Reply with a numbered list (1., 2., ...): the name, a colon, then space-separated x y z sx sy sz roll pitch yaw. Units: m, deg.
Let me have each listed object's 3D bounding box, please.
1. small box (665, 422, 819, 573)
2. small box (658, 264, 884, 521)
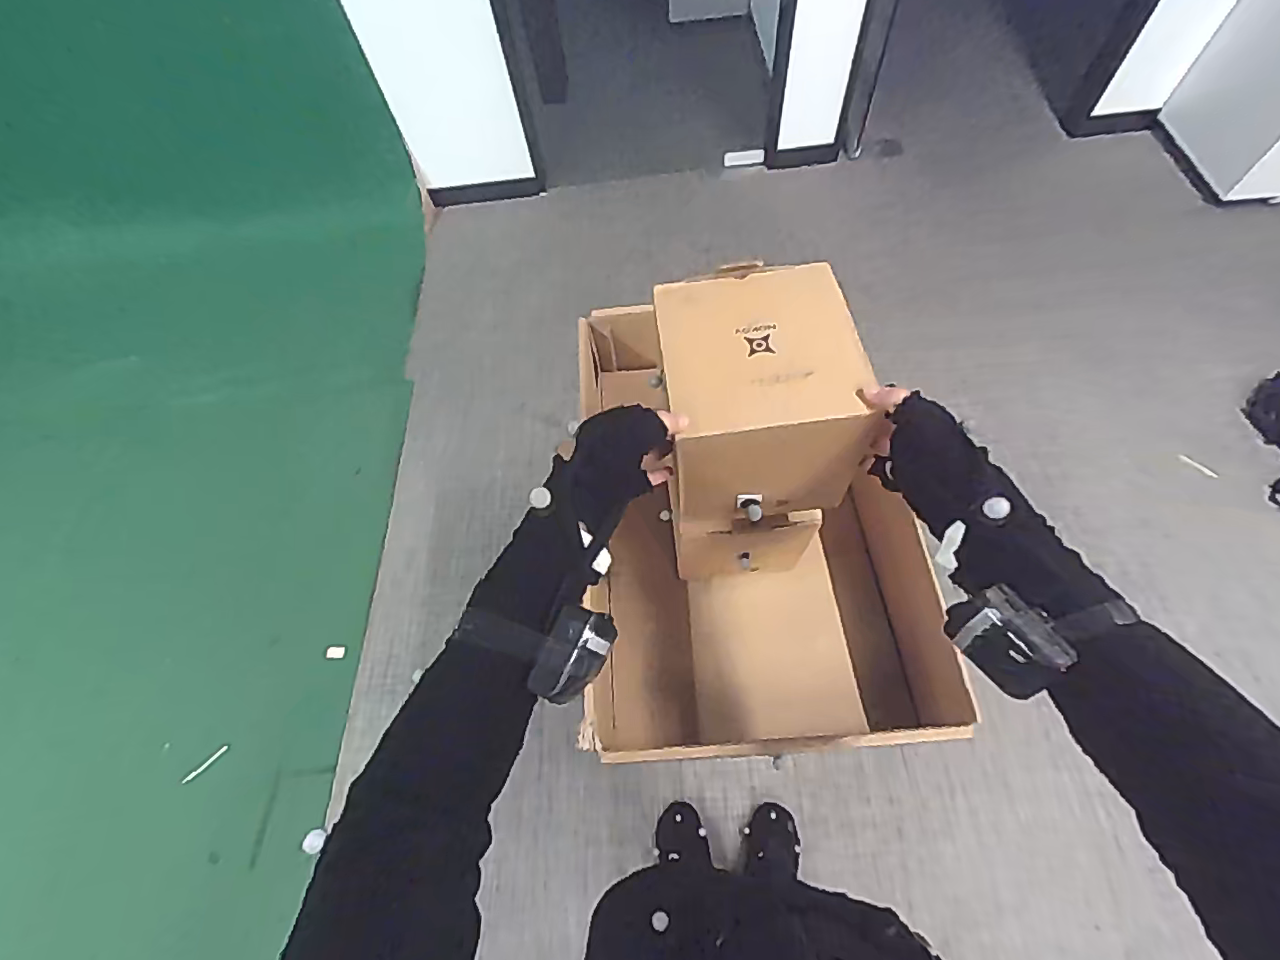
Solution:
1. small box: 0.124 0.019 0.724 0.168 0.176 0.179 -5 62 1
2. small box: 0.109 -0.077 0.531 0.168 0.176 0.179 -7 63 2
